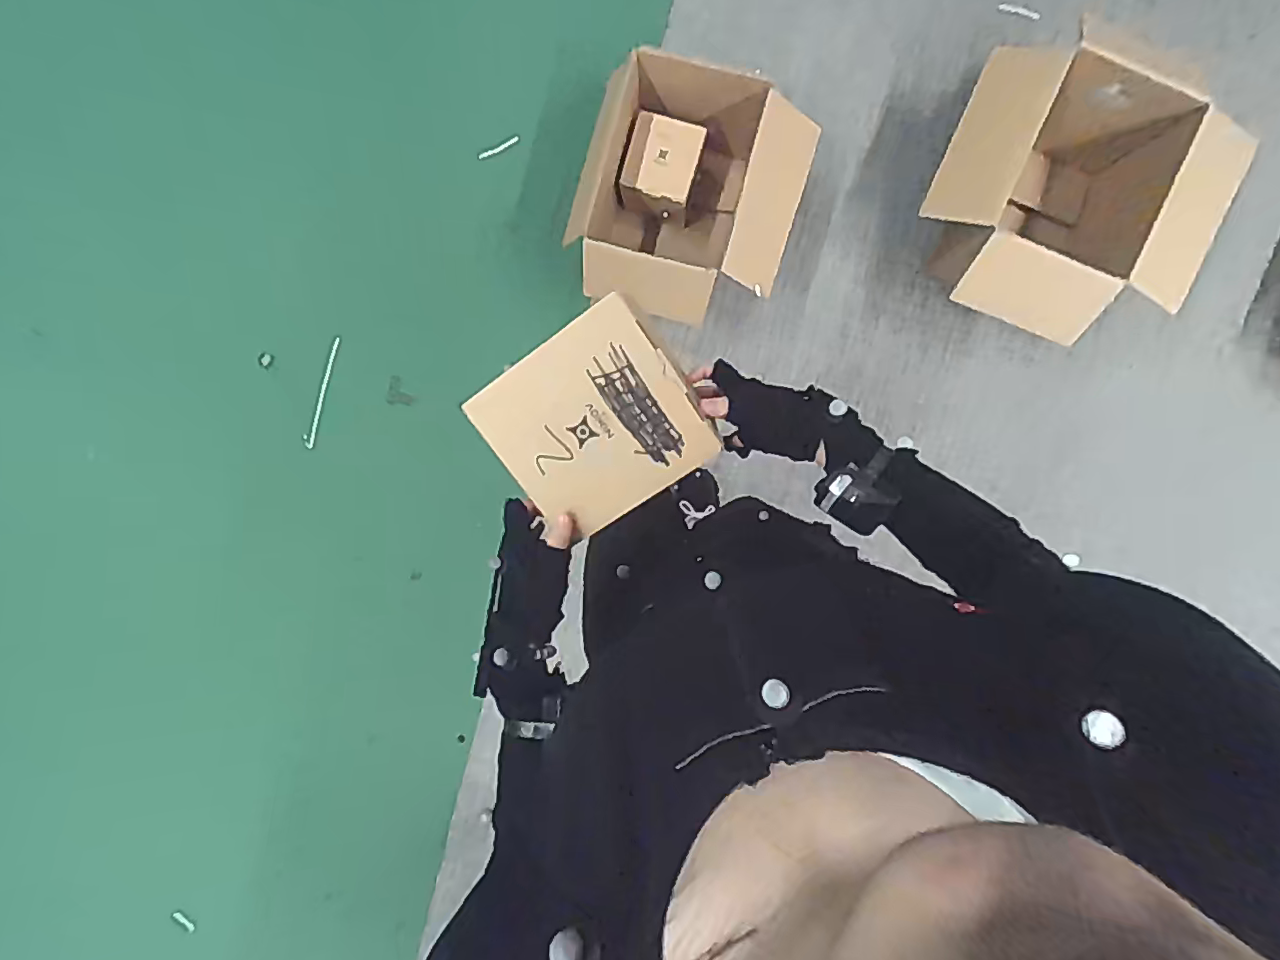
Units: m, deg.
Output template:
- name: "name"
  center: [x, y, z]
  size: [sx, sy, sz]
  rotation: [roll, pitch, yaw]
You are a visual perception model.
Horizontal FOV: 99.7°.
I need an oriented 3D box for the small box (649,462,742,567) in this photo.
- name: "small box"
  center: [0.141, 0.093, 1.406]
  size: [0.179, 0.176, 0.168]
  rotation: [-39, 63, -19]
